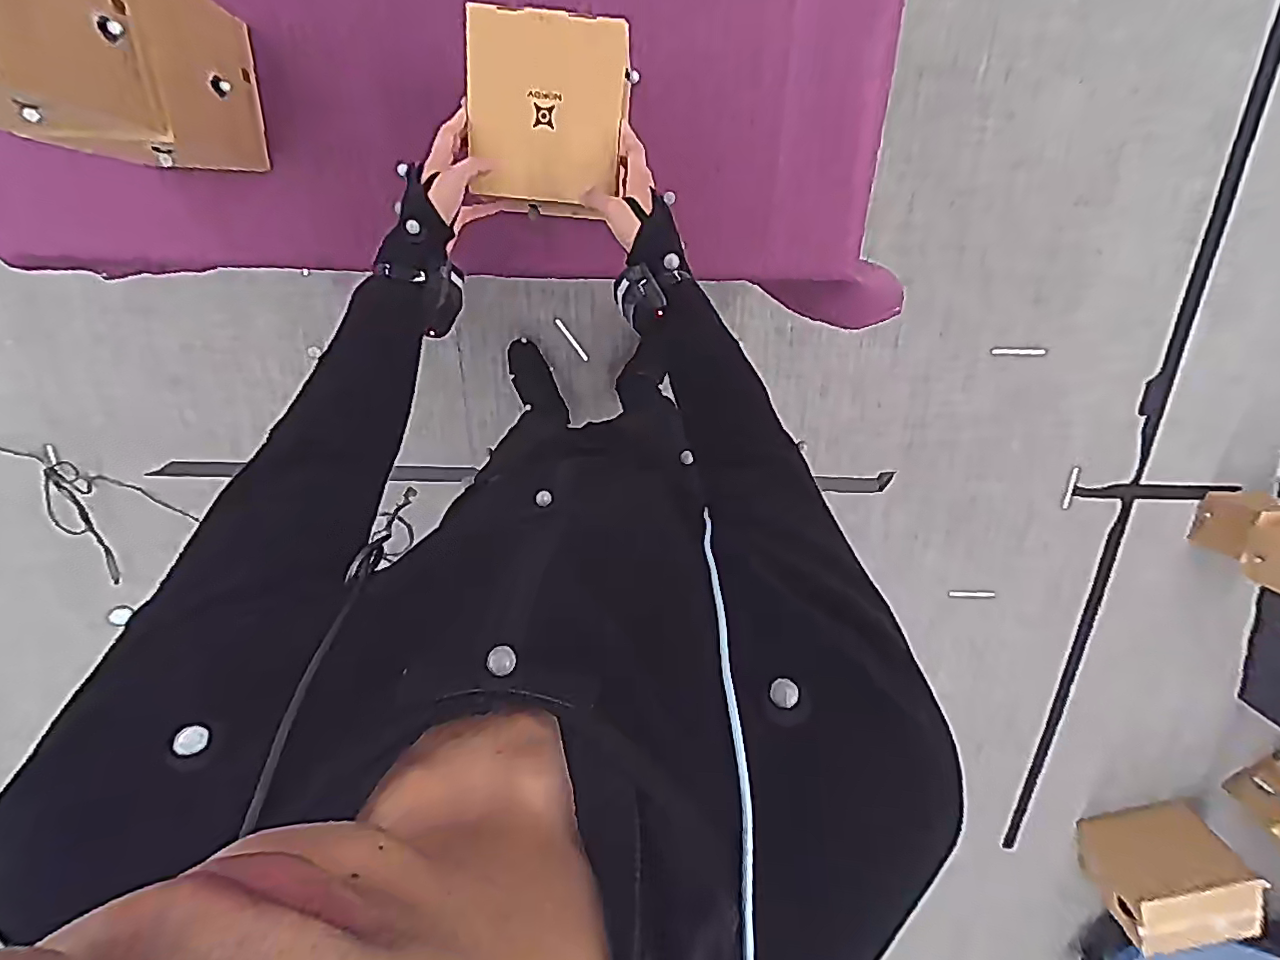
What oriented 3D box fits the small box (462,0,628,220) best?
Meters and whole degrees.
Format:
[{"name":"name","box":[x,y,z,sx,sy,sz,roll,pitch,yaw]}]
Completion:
[{"name":"small box","box":[-0.103,-0.419,0.646,0.168,0.176,0.179,5,109,-1]}]

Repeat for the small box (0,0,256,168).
[{"name":"small box","box":[-0.581,-0.469,0.622,0.179,0.176,0.168,3,110,-2]}]
